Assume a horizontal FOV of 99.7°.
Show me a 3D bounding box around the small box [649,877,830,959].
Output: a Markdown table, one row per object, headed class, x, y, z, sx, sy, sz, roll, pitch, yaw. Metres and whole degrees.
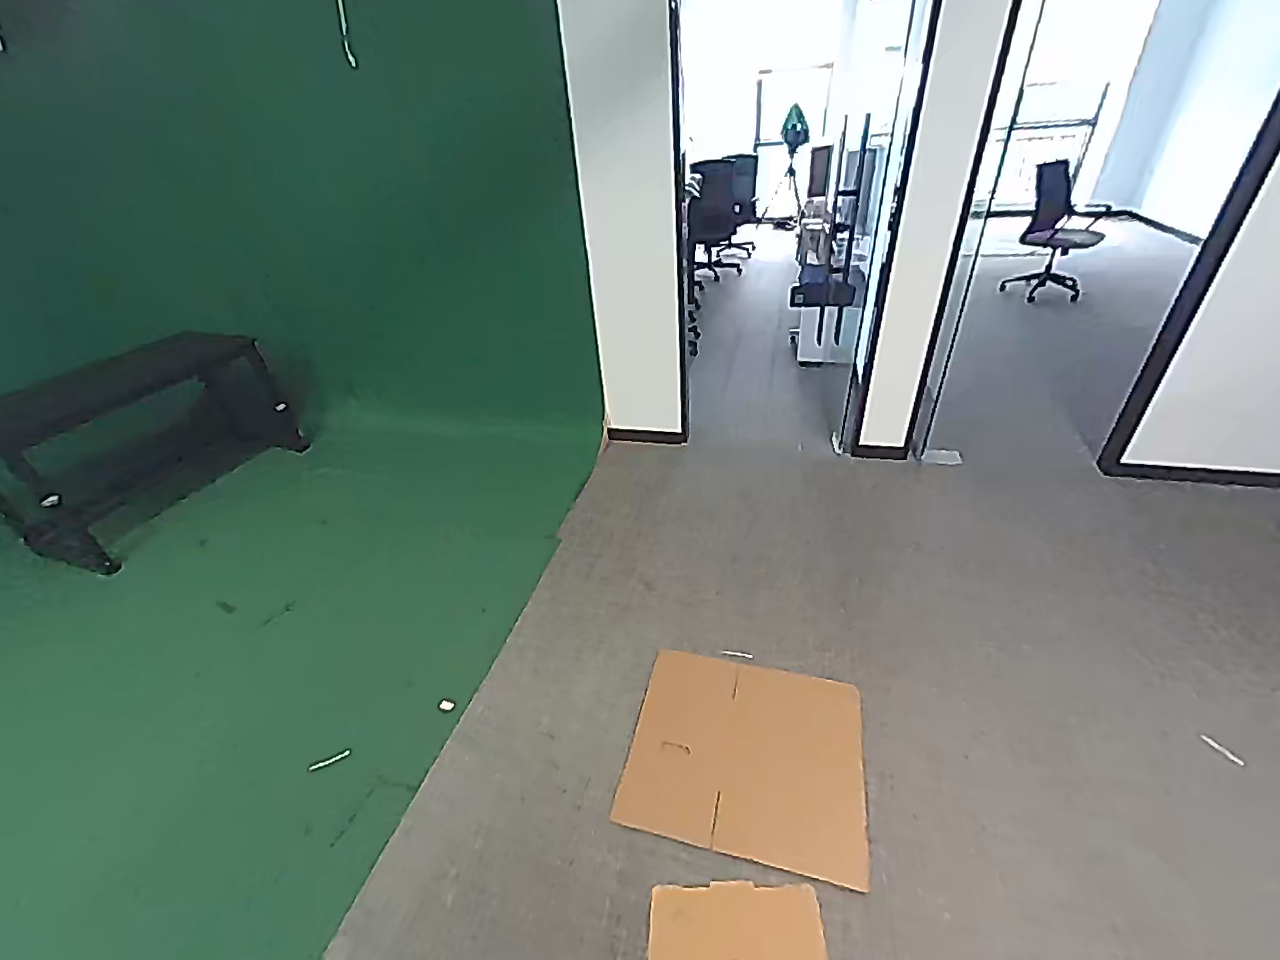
| class | x | y | z | sx | sy | sz | roll | pitch | yaw |
| --- | --- | --- | --- | --- | --- | --- | --- | --- | --- |
| small box | 0.095 | 0.512 | 0.499 | 0.168 | 0.176 | 0.179 | -4 | 23 | 7 |
